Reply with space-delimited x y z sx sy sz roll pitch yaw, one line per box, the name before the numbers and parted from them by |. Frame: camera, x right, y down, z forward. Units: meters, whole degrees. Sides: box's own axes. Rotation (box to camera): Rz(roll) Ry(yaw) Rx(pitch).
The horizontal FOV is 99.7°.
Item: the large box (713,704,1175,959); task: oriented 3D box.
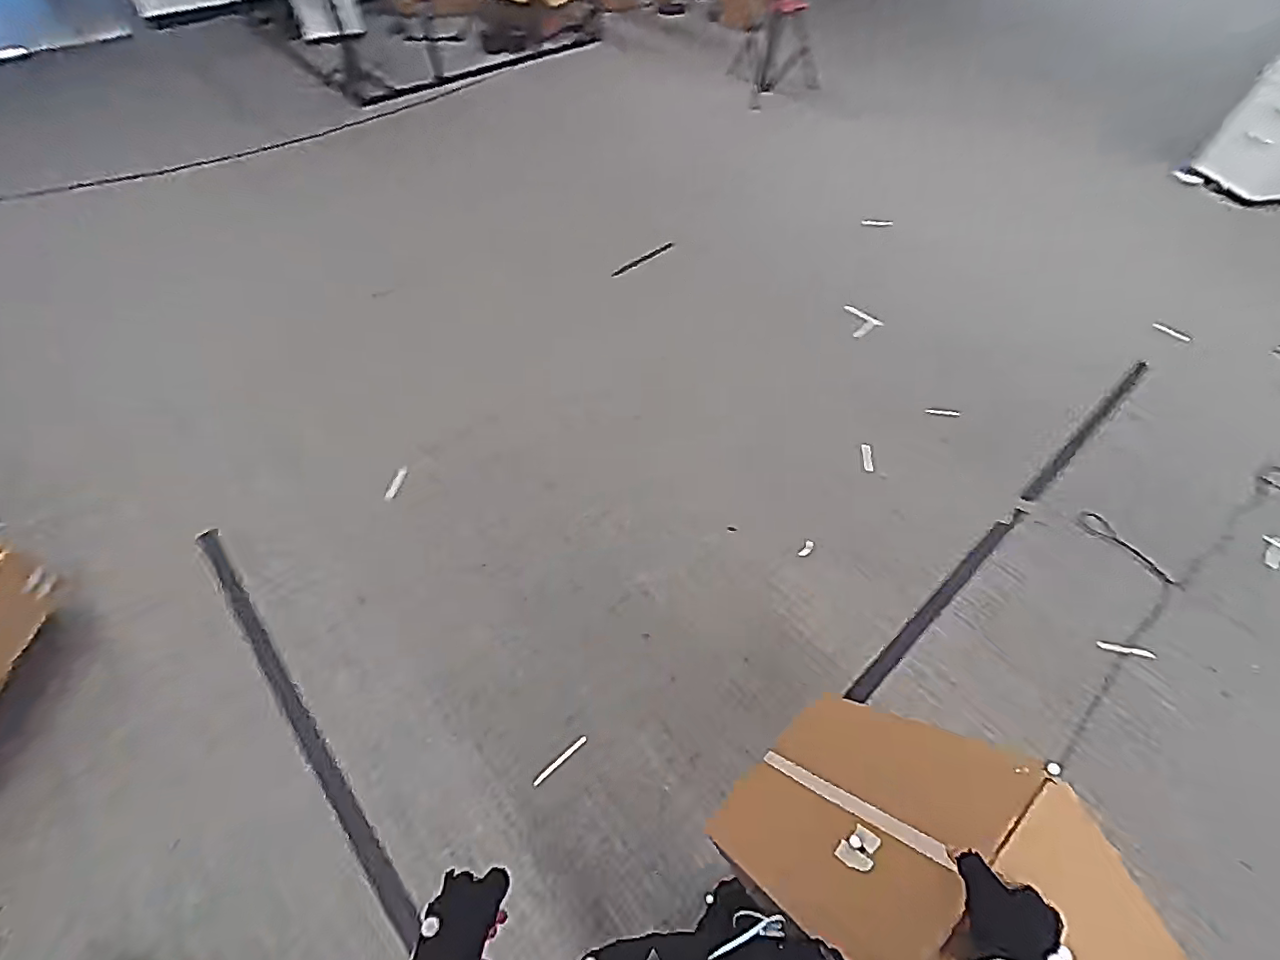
large box | 0.377 0.572 0.739 0.320 0.408 0.320 -35 94 -21
